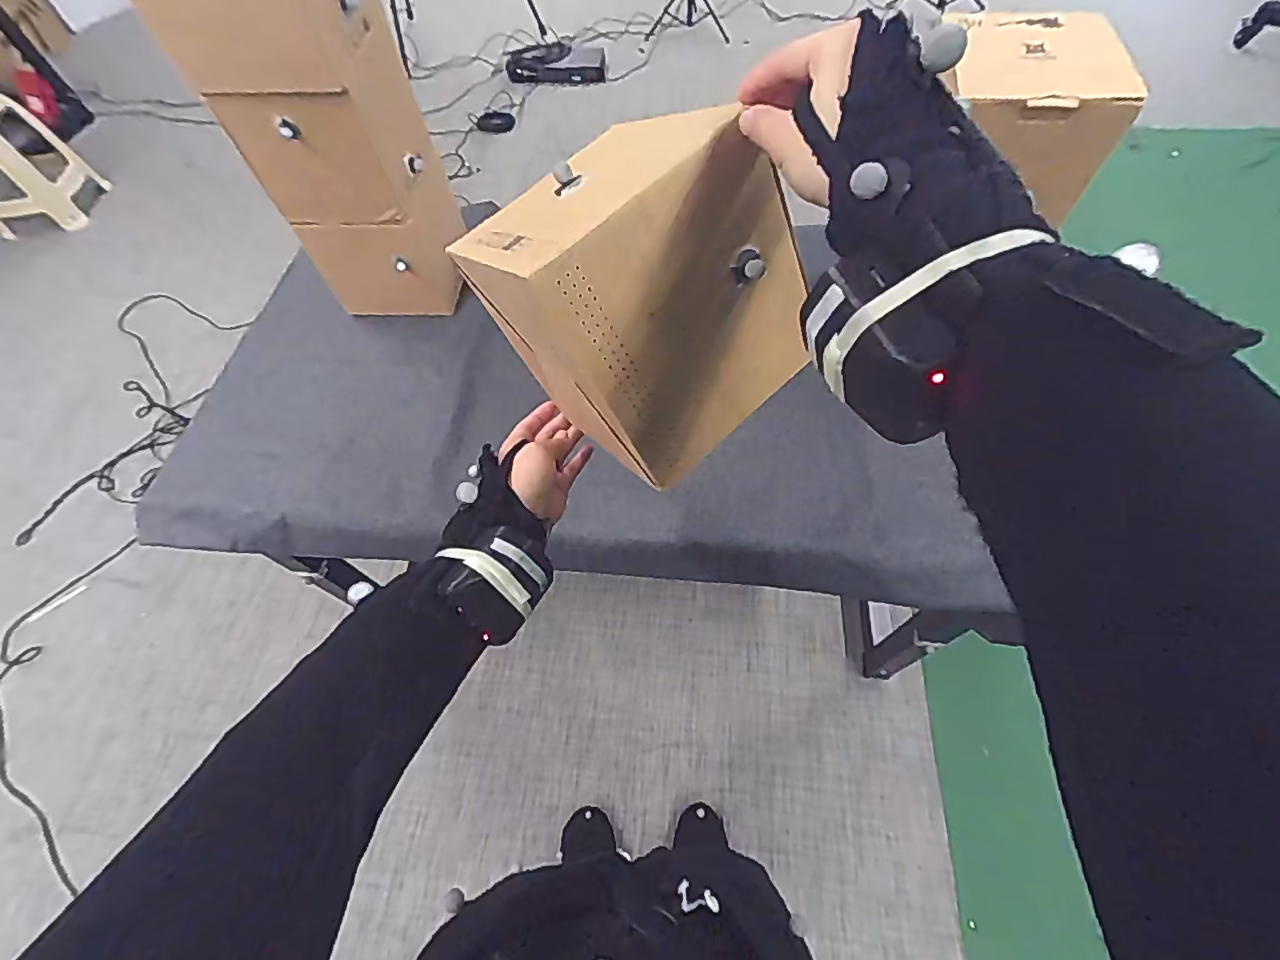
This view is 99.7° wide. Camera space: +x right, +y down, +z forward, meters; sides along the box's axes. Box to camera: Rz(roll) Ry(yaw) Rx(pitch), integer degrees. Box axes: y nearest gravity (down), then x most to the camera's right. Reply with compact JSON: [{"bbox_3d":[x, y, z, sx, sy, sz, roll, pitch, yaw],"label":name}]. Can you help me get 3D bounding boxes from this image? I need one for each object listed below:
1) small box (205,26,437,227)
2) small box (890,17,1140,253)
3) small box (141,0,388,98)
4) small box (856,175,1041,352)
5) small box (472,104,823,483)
[{"bbox_3d":[-0.394,-0.454,0.705,0.179,0.176,0.168,1,62,2],"label":"small box"},{"bbox_3d":[0.400,-0.384,0.616,0.168,0.176,0.179,6,62,7],"label":"small box"},{"bbox_3d":[-0.398,-0.526,0.557,0.179,0.176,0.168,3,62,3],"label":"small box"},{"bbox_3d":[0.413,-0.308,0.761,0.168,0.176,0.179,6,62,7],"label":"small box"},{"bbox_3d":[-0.001,-0.130,0.398,0.176,0.179,0.168,-41,40,-9],"label":"small box"}]
